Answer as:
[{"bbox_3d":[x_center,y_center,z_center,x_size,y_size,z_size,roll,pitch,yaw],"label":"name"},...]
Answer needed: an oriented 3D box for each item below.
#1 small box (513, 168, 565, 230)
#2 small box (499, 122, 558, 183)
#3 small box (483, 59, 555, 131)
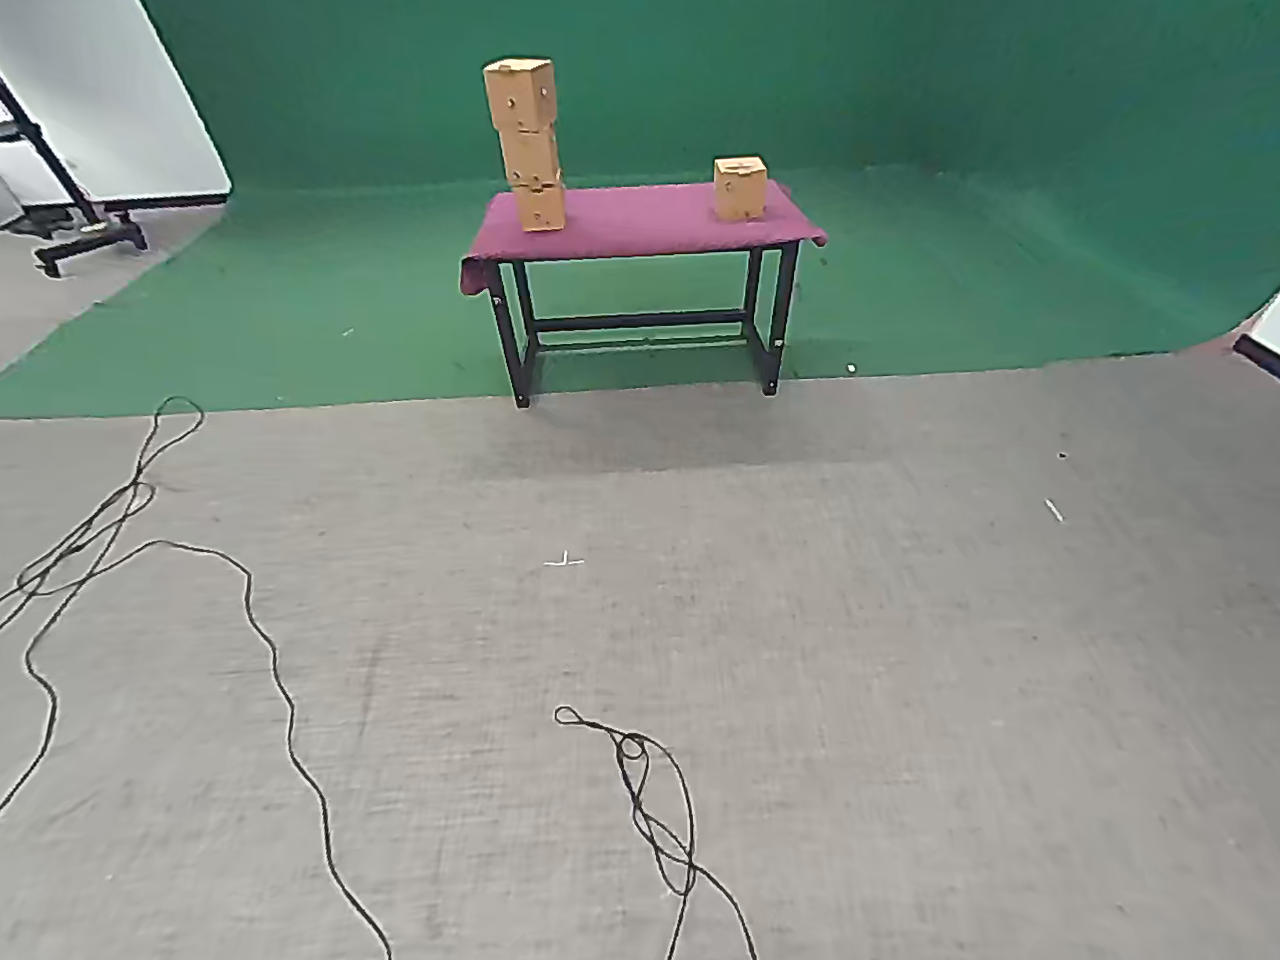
[{"bbox_3d":[-0.376,-1.064,2.048,0.168,0.176,0.179,-4,46,-2],"label":"small box"},{"bbox_3d":[-0.390,-1.168,1.921,0.168,0.176,0.179,-1,45,1],"label":"small box"},{"bbox_3d":[-0.395,-1.285,1.806,0.168,0.176,0.179,12,49,13],"label":"small box"}]
